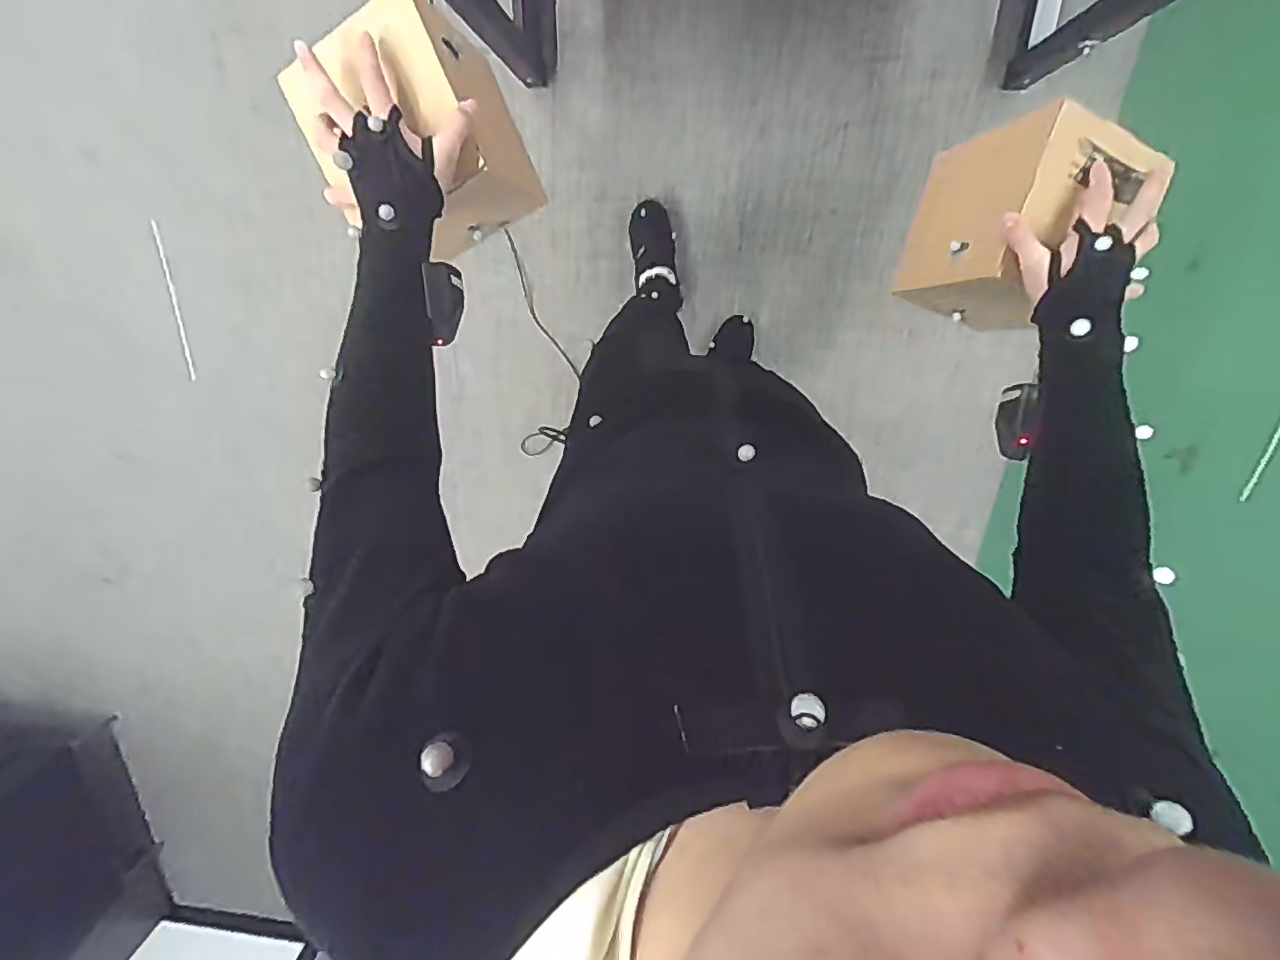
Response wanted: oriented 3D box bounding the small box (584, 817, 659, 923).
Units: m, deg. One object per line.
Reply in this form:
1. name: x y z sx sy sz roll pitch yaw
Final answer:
1. small box: -0.045 1.042 1.454 0.168 0.176 0.179 -4 110 10

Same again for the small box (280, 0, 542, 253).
1. small box: -0.237 -0.378 0.603 0.168 0.176 0.179 -20 101 17
